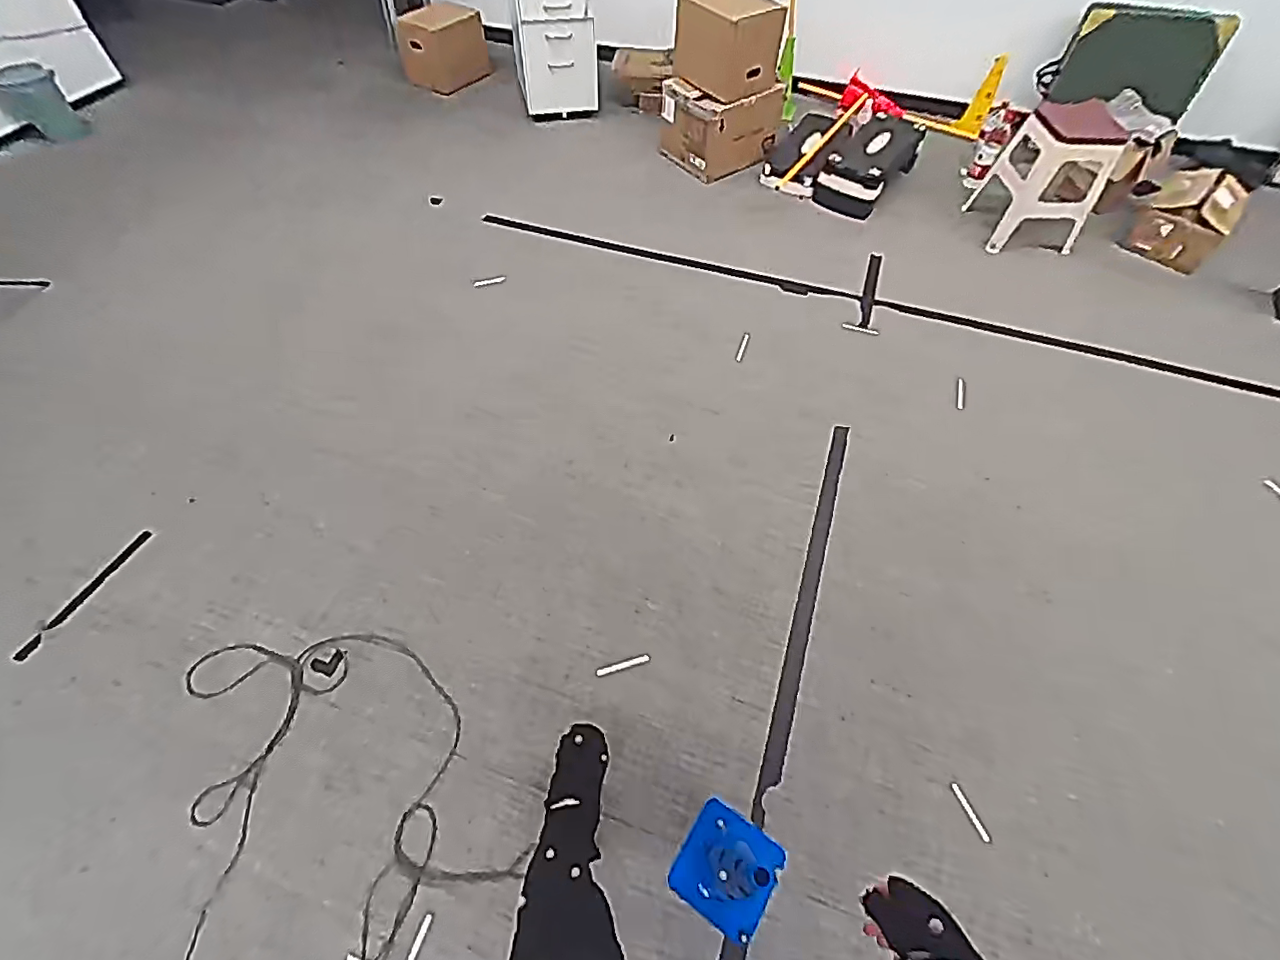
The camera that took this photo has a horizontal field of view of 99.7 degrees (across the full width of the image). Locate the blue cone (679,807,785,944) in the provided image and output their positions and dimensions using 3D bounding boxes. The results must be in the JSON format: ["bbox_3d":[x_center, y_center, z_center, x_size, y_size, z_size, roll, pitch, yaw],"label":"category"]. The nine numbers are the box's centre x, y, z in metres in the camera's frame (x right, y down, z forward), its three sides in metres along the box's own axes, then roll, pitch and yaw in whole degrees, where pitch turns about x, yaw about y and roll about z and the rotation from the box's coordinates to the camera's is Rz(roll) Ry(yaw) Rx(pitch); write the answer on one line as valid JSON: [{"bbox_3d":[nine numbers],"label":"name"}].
[{"bbox_3d":[0.199,0.744,1.018,0.192,0.380,0.193,32,61,17],"label":"blue cone"}]
